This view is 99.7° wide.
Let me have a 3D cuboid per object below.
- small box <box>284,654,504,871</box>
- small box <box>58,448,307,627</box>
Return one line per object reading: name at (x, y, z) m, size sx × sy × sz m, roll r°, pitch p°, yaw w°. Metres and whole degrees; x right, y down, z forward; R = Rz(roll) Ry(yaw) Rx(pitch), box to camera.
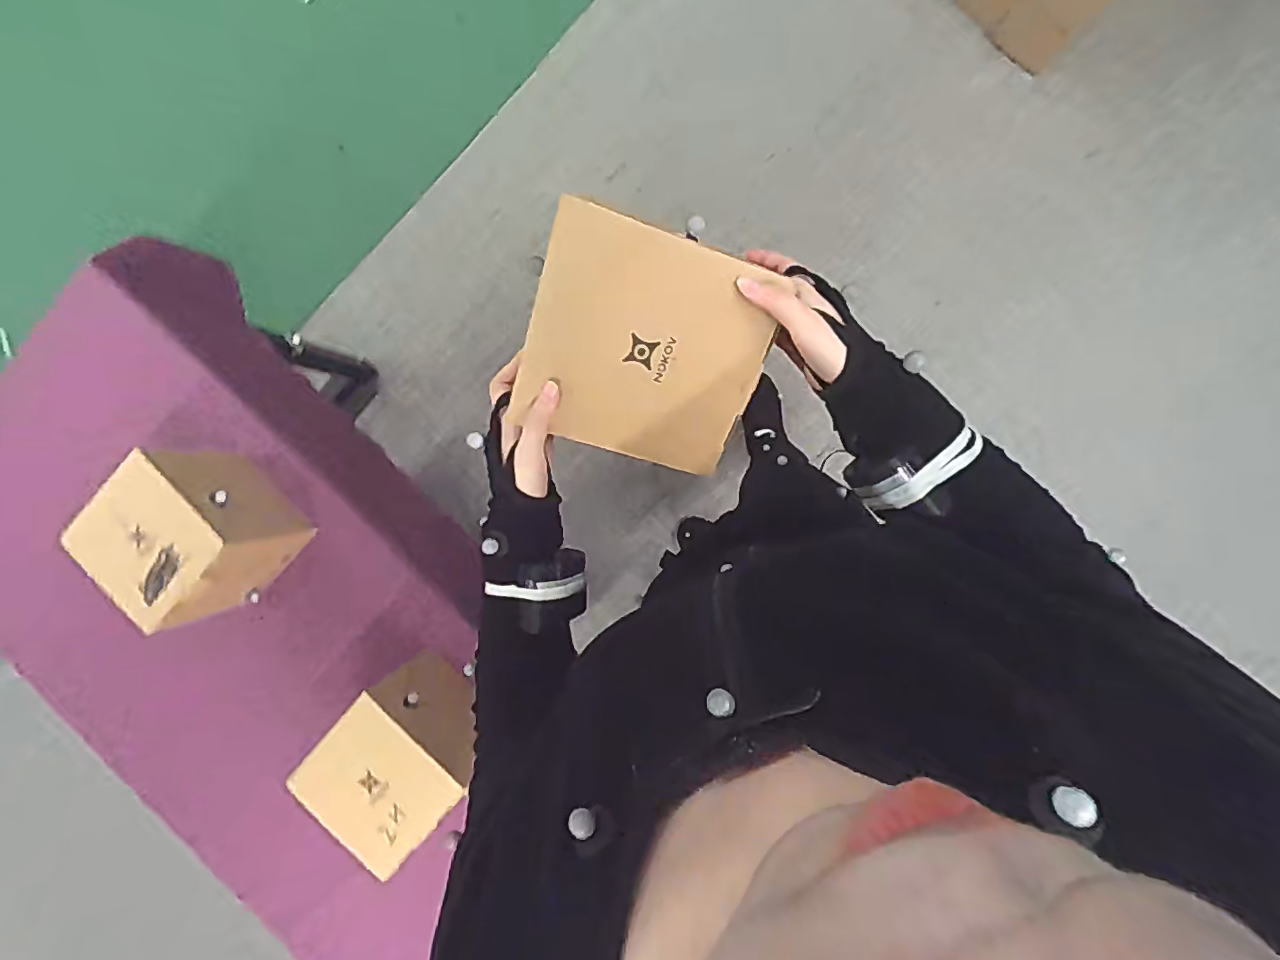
small box at (-0.323, 0.365, 0.743) m, size 0.179 × 0.176 × 0.168 m, roll 42°, pitch 96°, yaw 3°
small box at (-0.626, 0.069, 0.763) m, size 0.179 × 0.176 × 0.168 m, roll 45°, pitch 96°, yaw 3°
